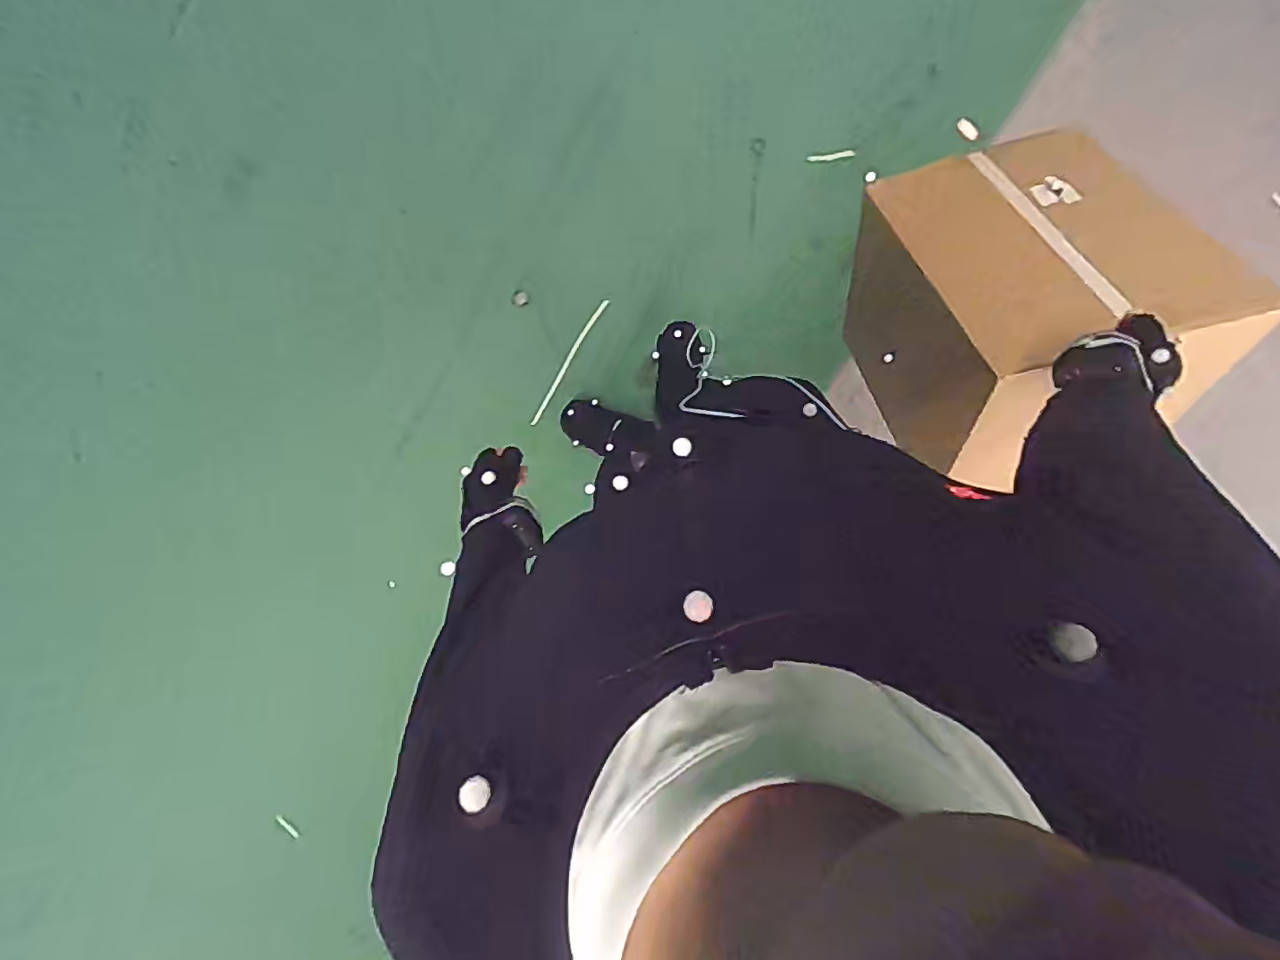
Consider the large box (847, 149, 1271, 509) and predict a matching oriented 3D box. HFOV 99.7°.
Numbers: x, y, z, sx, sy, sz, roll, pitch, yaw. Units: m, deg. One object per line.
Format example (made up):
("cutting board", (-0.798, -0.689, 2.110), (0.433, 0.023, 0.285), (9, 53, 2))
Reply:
("large box", (0.555, -0.223, 0.840), (0.320, 0.408, 0.320), (-13, 146, 5))
